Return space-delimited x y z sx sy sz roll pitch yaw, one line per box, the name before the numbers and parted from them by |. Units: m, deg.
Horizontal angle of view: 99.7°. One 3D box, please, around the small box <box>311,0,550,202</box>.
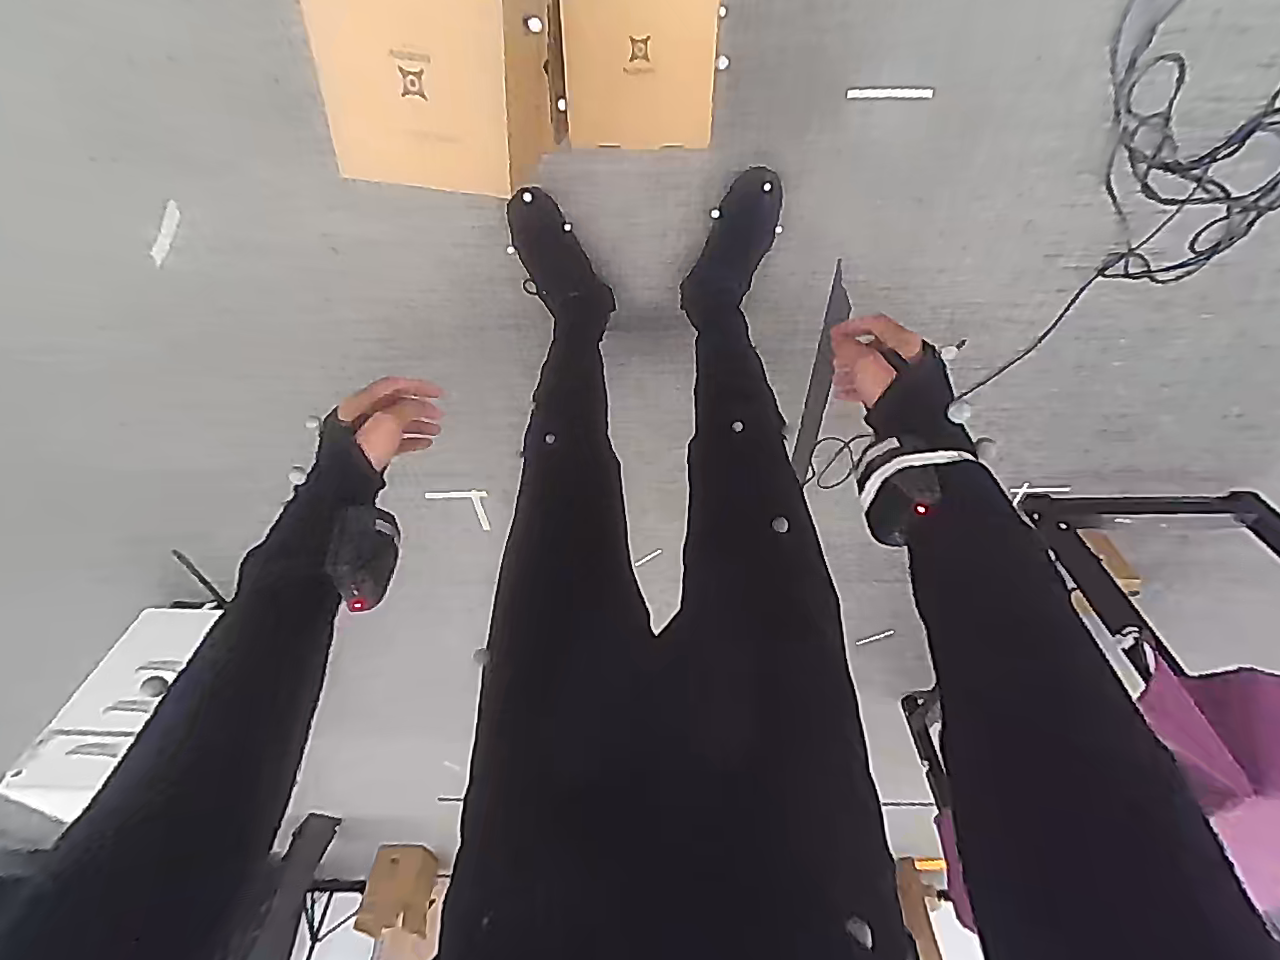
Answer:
small box | -0.184 -0.395 0.521 0.168 0.176 0.179 7 131 -3
